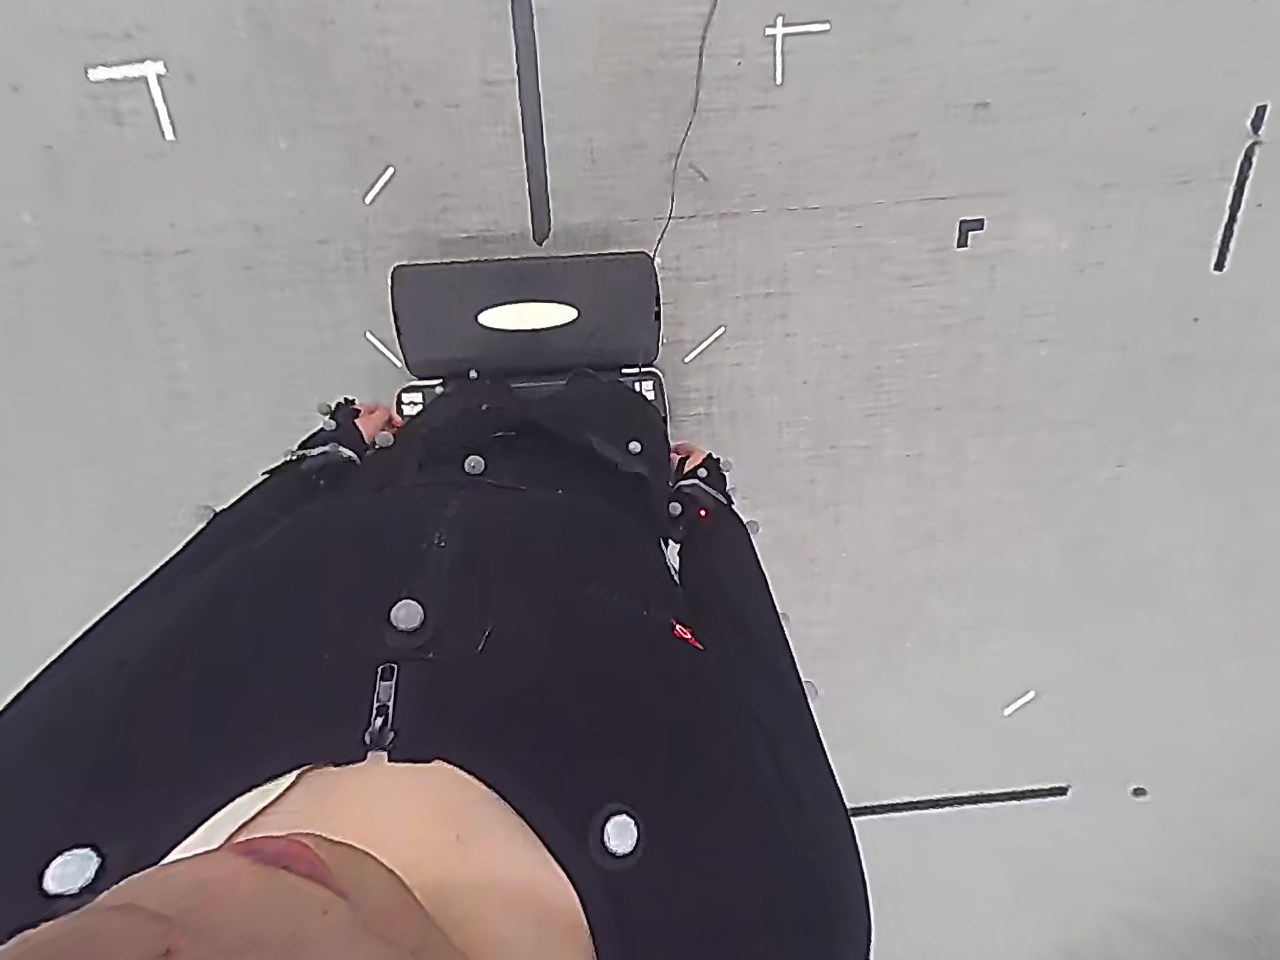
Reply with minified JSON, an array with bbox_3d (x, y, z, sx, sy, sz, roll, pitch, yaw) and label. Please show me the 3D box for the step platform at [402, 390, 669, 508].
[{"bbox_3d":[-0.263,-0.084,1.434,0.684,0.204,0.286,1,105,-2],"label":"step platform"}]
